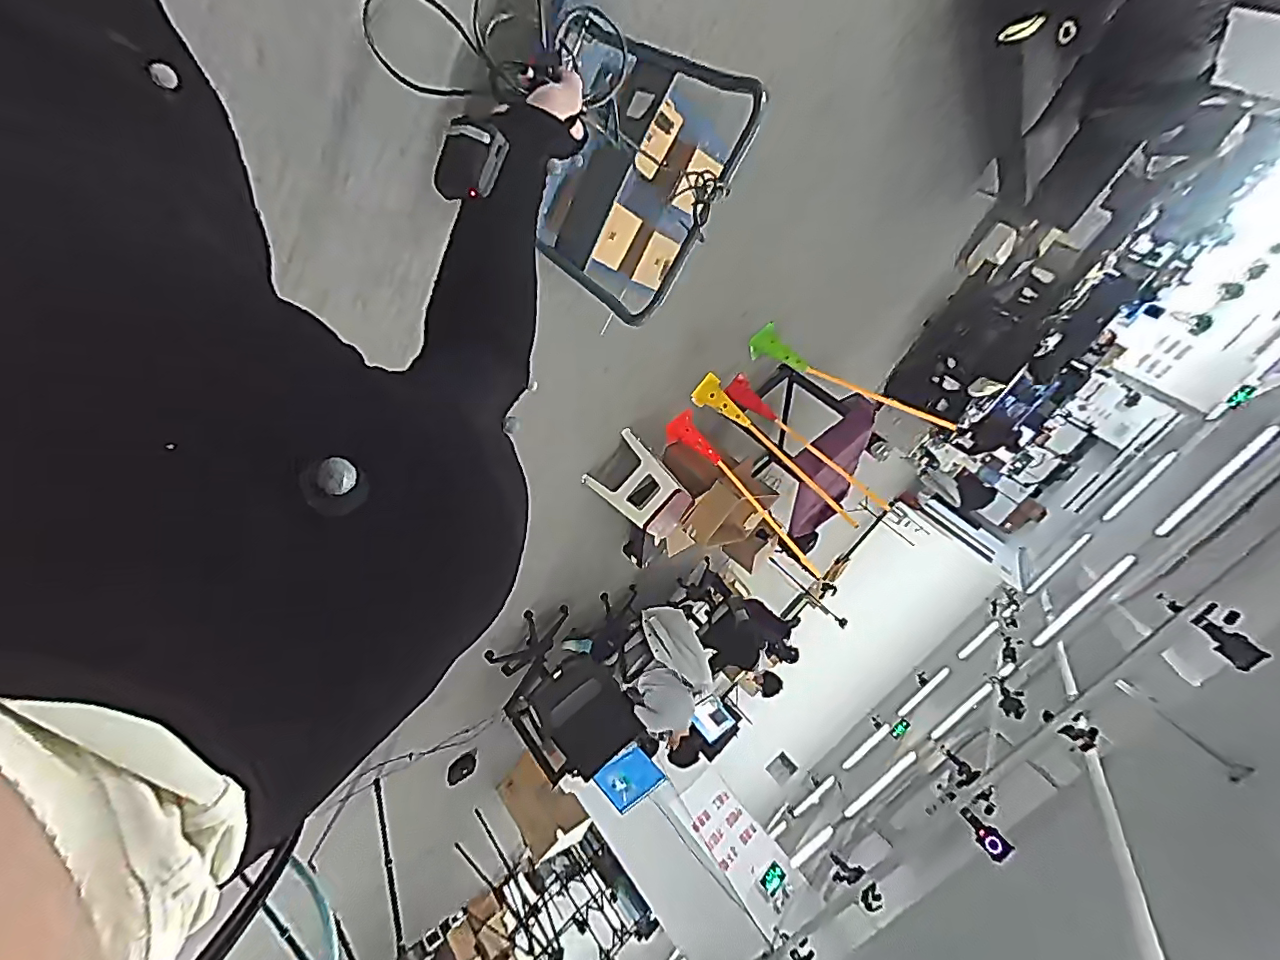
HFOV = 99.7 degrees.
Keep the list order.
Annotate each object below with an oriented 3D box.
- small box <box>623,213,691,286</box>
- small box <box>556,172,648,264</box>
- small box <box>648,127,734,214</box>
[{"bbox_3d":[0.032,-0.780,1.807,0.179,0.176,0.168,-3,131,-51],"label":"small box"},{"bbox_3d":[-0.115,-0.780,1.610,0.179,0.176,0.168,1,128,-53],"label":"small box"},{"bbox_3d":[0.156,-0.980,1.707,0.179,0.176,0.168,-6,134,-50],"label":"small box"}]
